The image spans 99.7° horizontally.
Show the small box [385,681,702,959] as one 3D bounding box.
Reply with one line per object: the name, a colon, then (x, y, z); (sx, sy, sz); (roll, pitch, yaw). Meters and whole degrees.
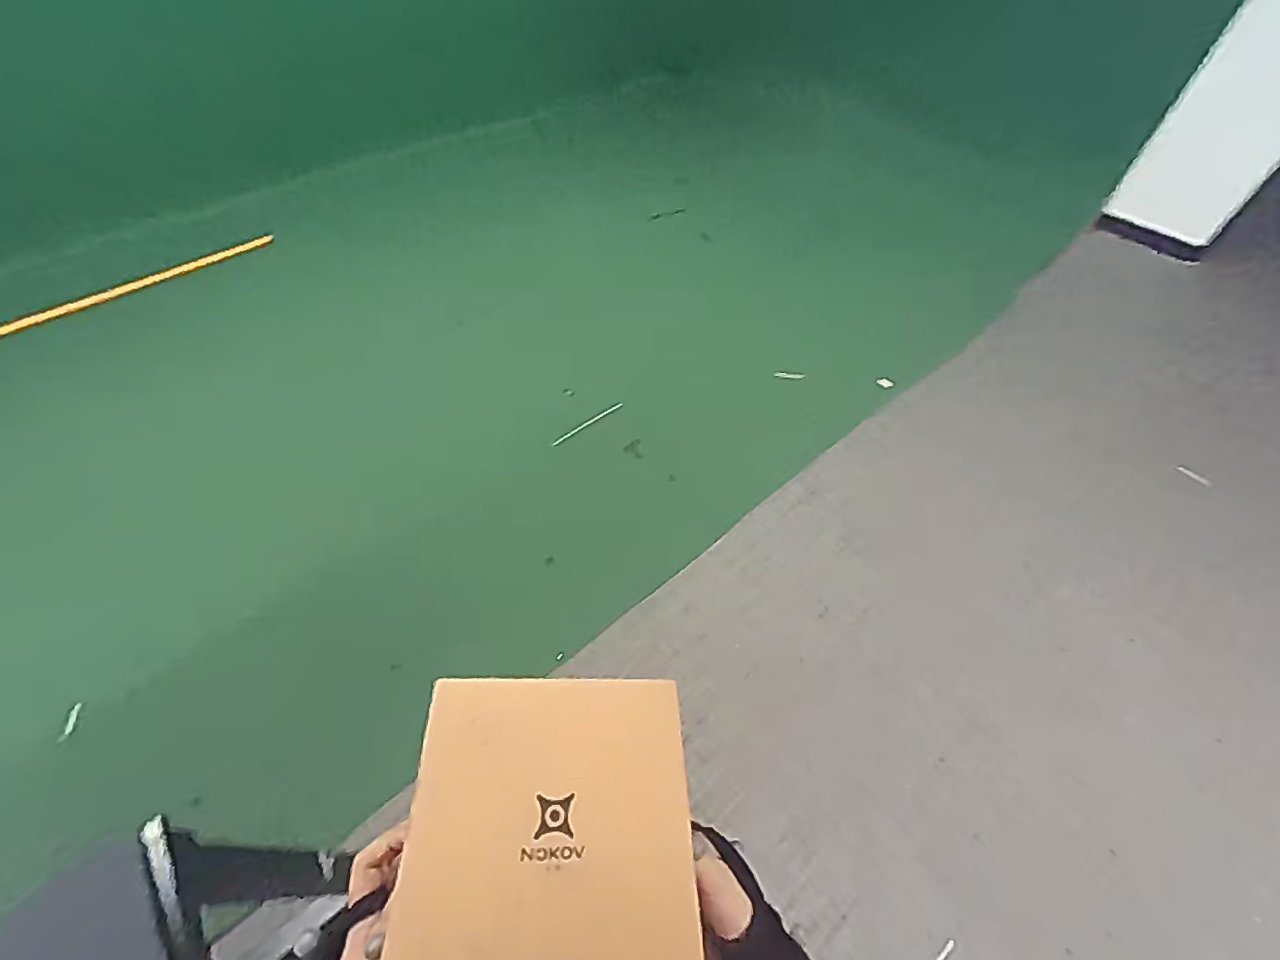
small box: (-0.063, 0.259, 0.376); (0.168, 0.176, 0.179); (4, 48, -9)
